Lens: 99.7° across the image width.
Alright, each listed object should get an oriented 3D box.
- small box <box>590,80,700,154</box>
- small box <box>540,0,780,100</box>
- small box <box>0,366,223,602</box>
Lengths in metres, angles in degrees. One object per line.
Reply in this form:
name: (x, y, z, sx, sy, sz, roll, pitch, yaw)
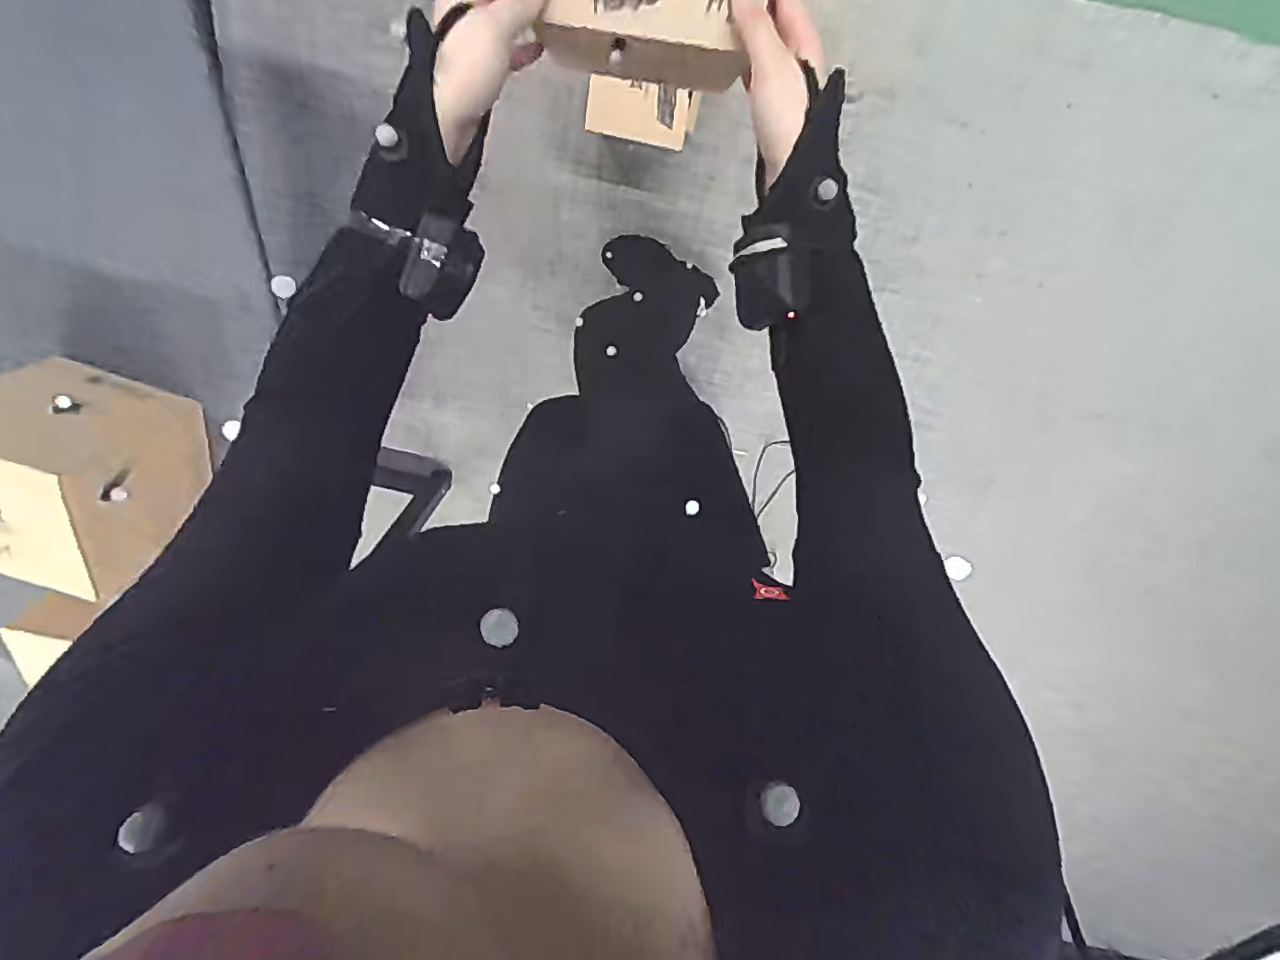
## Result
small box: (0.021, -0.696, 0.962, 0.179, 0.176, 0.168, 13, 123, -1)
small box: (0.021, -0.418, 0.413, 0.168, 0.176, 0.179, 7, 119, -4)
small box: (-0.610, -0.003, 0.600, 0.168, 0.176, 0.179, 19, 123, -4)
